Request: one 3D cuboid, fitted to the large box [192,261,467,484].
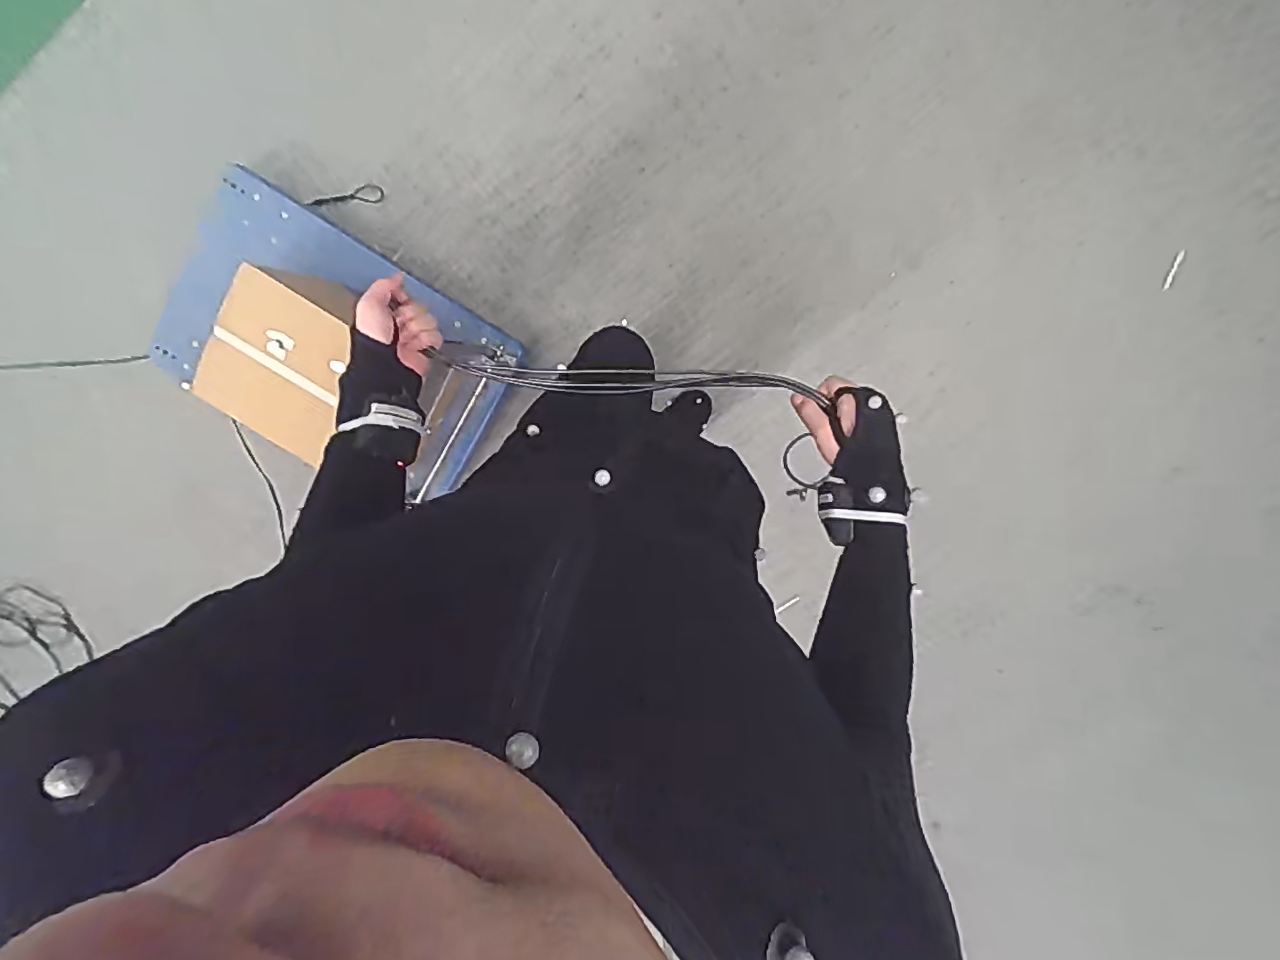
[{"bbox_3d":[-0.696,-0.246,1.270,0.408,0.320,0.320,32,101,-3],"label":"large box"}]
